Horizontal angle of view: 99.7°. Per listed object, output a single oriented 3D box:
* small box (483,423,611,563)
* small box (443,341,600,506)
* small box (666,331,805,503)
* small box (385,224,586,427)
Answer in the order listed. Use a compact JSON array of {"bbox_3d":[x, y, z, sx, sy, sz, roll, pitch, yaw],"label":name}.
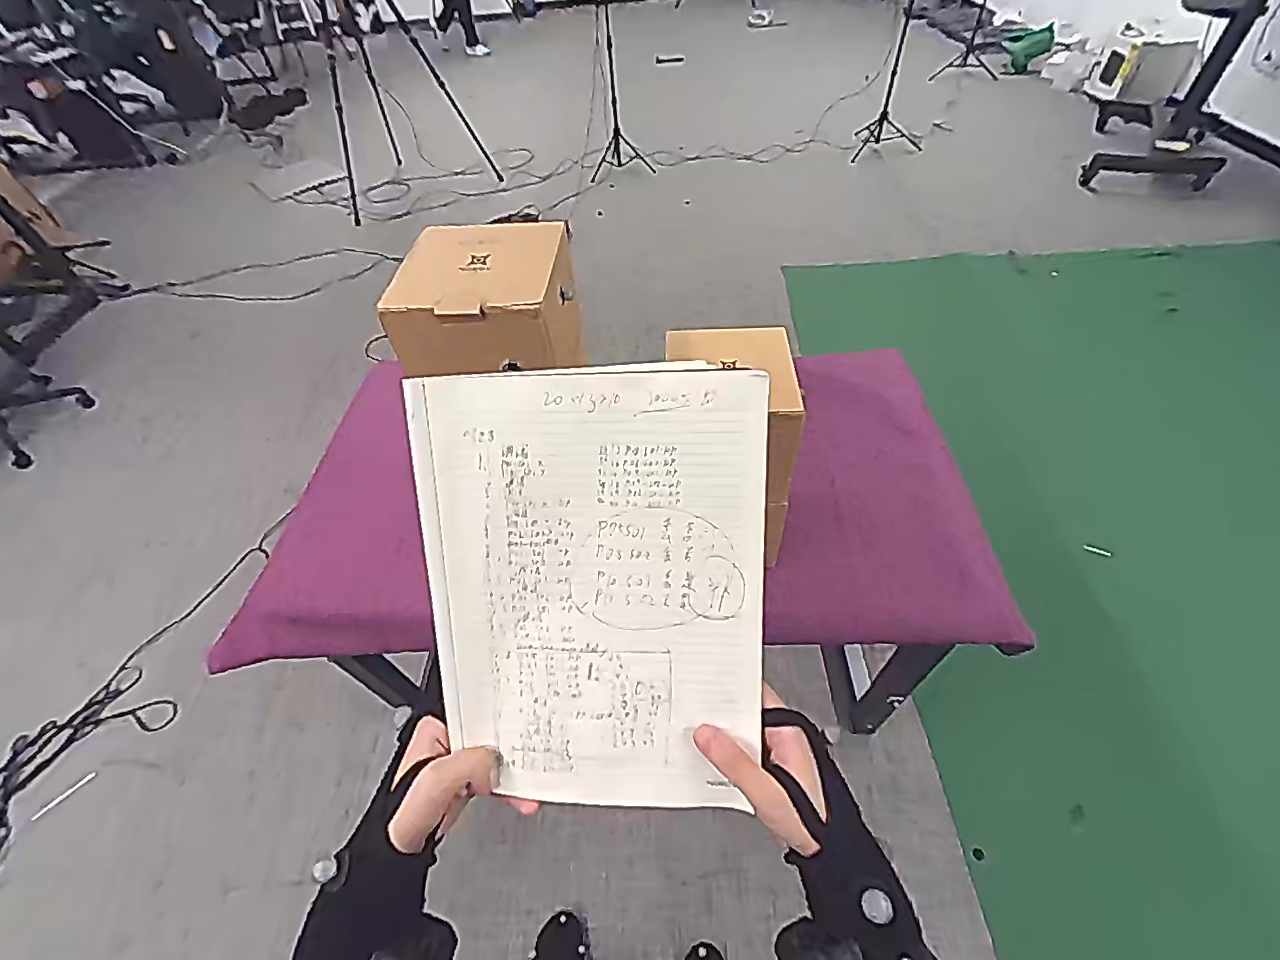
[{"bbox_3d":[-0.141,0.025,0.896,0.168,0.176,0.179,-1,51,4],"label":"small box"},{"bbox_3d":[-0.152,-0.076,0.766,0.168,0.176,0.179,-1,49,4],"label":"small box"},{"bbox_3d":[0.121,-0.088,0.755,0.168,0.176,0.179,-1,49,4],"label":"small box"},{"bbox_3d":[-0.162,-0.177,0.638,0.168,0.176,0.179,0,49,4],"label":"small box"}]
